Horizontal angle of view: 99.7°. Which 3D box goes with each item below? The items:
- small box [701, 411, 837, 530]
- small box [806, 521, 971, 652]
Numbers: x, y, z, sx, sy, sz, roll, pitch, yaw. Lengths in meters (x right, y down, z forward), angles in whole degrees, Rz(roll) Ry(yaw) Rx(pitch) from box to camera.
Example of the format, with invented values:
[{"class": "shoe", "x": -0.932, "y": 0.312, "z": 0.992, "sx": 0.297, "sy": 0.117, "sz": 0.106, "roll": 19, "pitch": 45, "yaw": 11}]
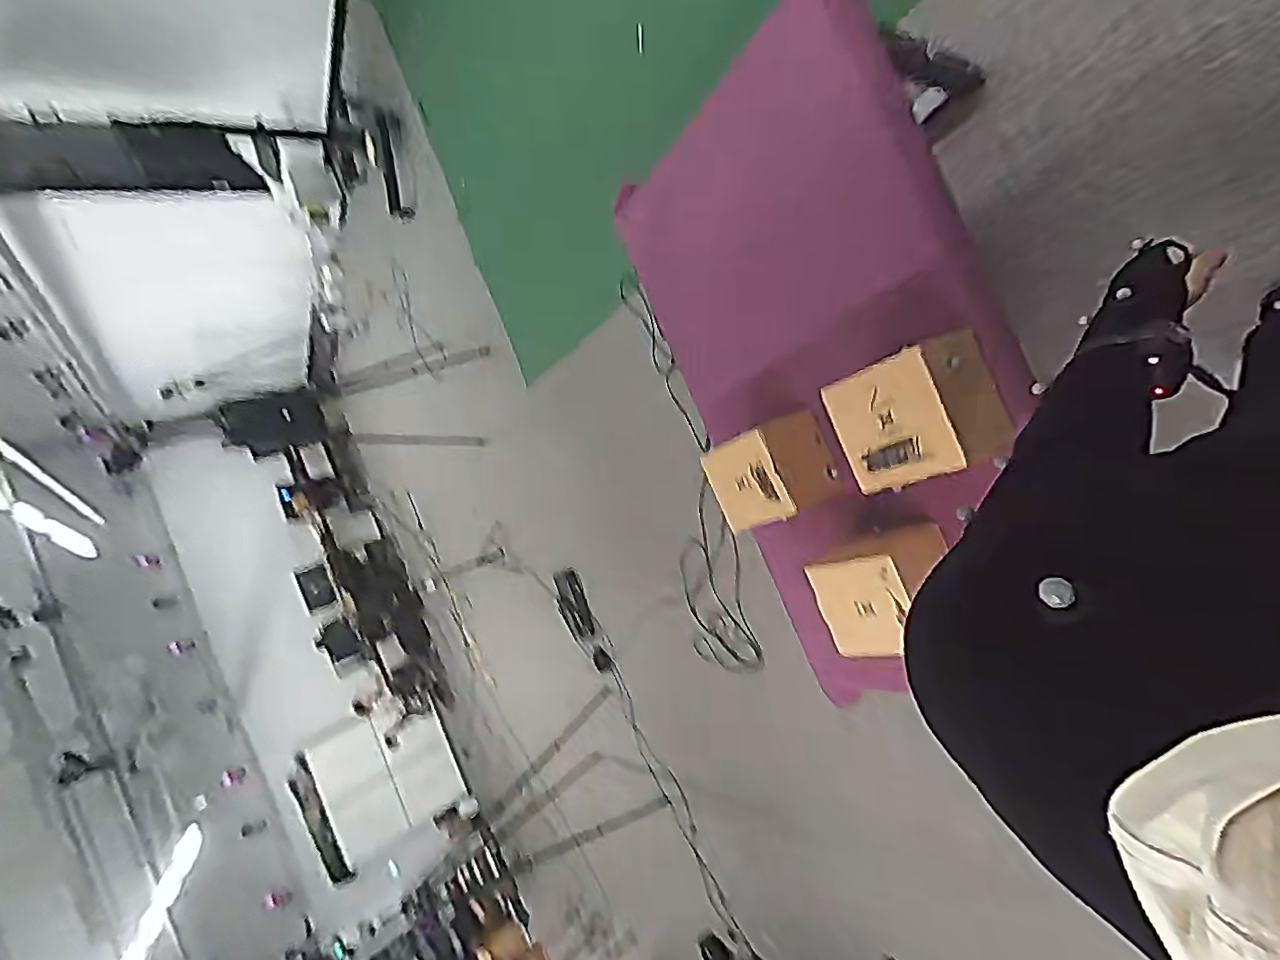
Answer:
[{"class": "small box", "x": 0.261, "y": -0.020, "z": 1.071, "sx": 0.179, "sy": 0.176, "sz": 0.168, "roll": -29, "pitch": 83, "yaw": 54}, {"class": "small box", "x": 0.435, "y": 0.186, "z": 0.949, "sx": 0.179, "sy": 0.176, "sz": 0.168, "roll": -26, "pitch": 87, "yaw": 54}]
